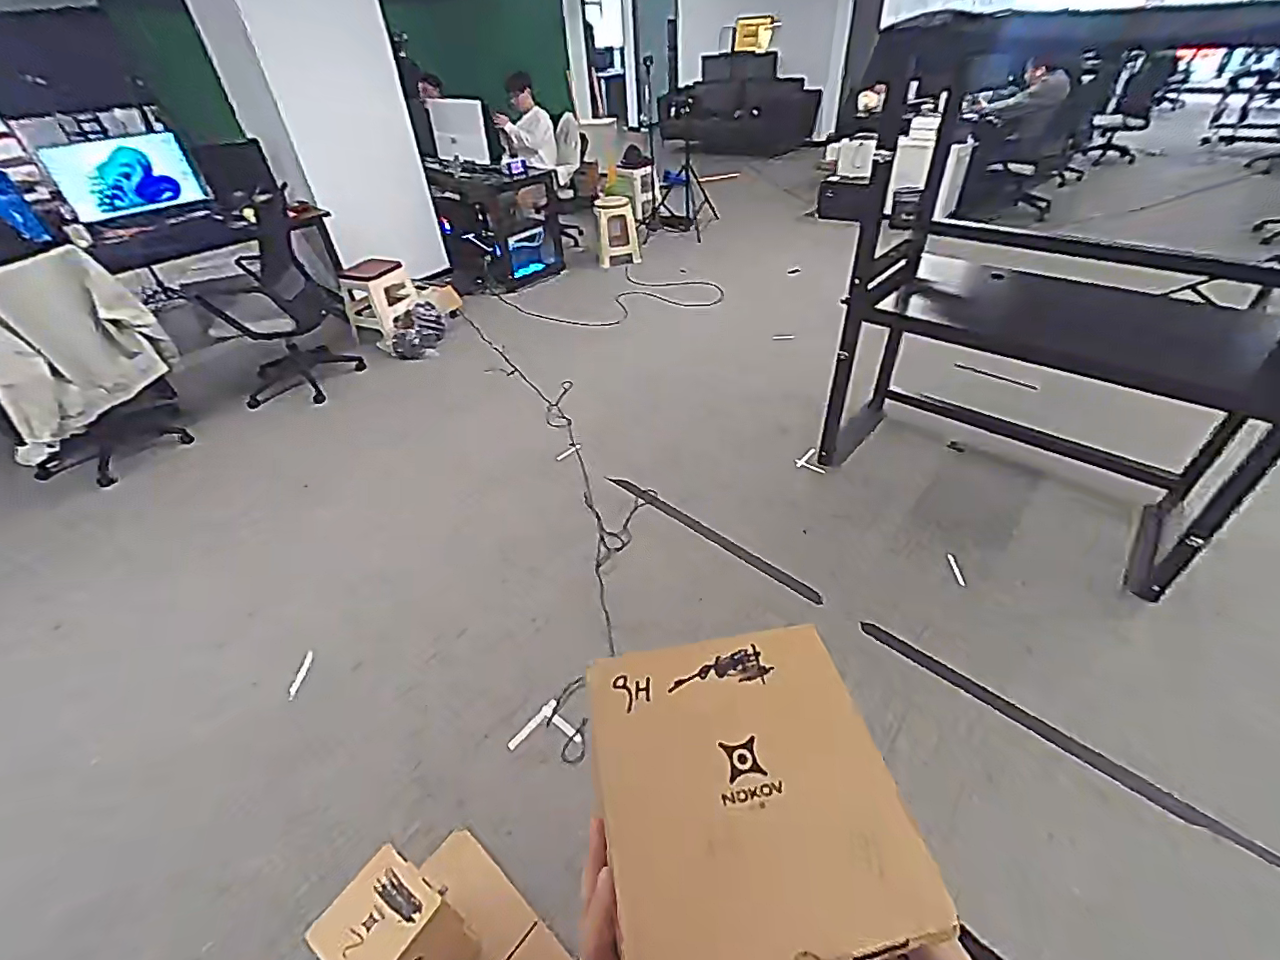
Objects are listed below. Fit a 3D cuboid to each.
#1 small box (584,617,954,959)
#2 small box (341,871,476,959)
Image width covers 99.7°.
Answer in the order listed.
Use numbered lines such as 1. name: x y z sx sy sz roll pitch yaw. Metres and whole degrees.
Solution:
1. small box: 0.057 0.222 0.363 0.168 0.176 0.179 -6 44 -10
2. small box: -0.456 0.956 1.098 0.168 0.176 0.179 24 48 29
